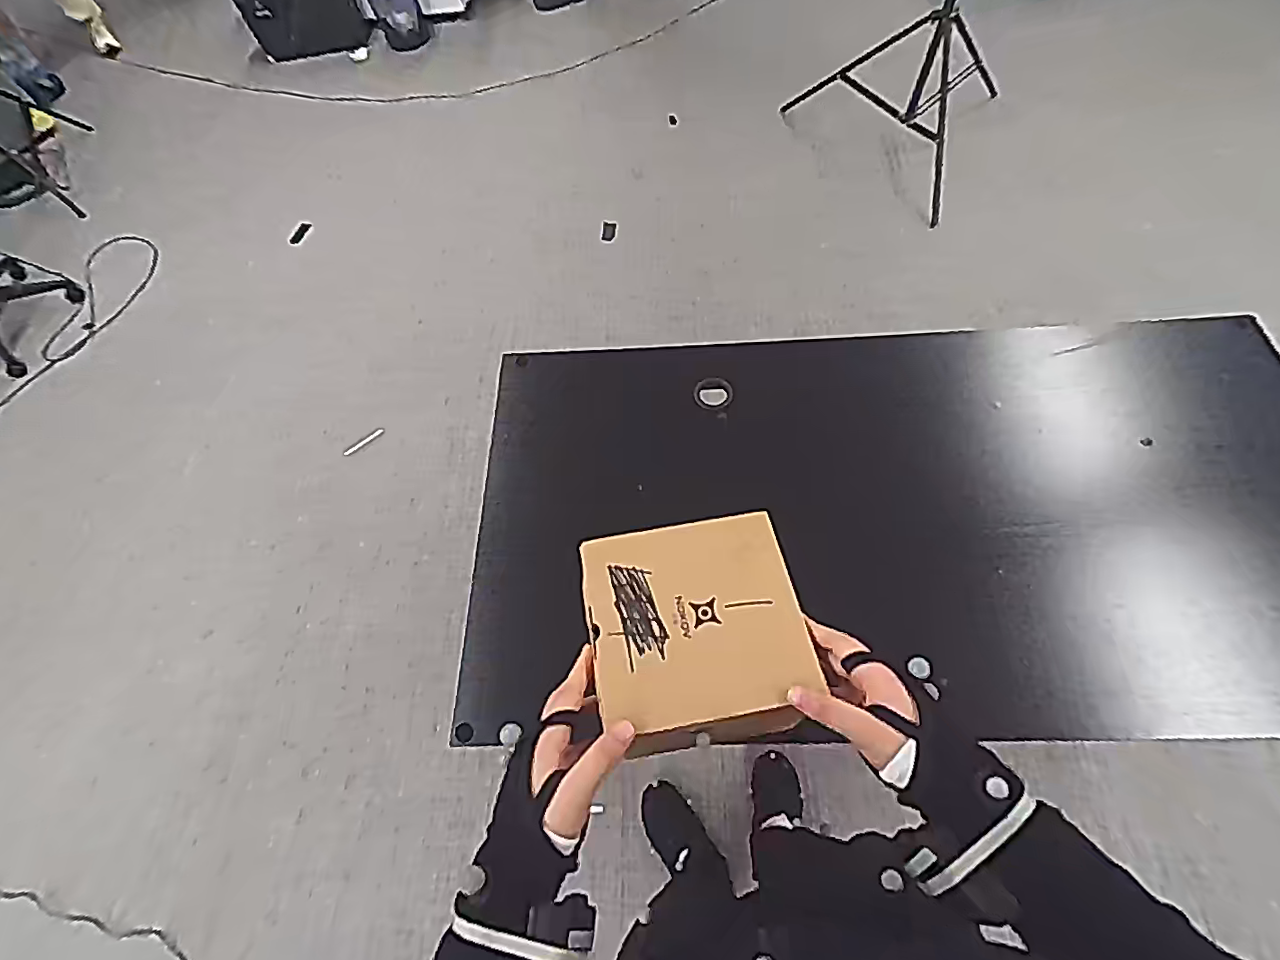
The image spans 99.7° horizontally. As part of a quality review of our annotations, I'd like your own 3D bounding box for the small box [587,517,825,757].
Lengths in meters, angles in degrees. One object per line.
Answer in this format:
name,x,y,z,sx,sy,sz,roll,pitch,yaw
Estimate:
small box,0.054,0.159,0.526,0.179,0.176,0.168,-10,57,-2
